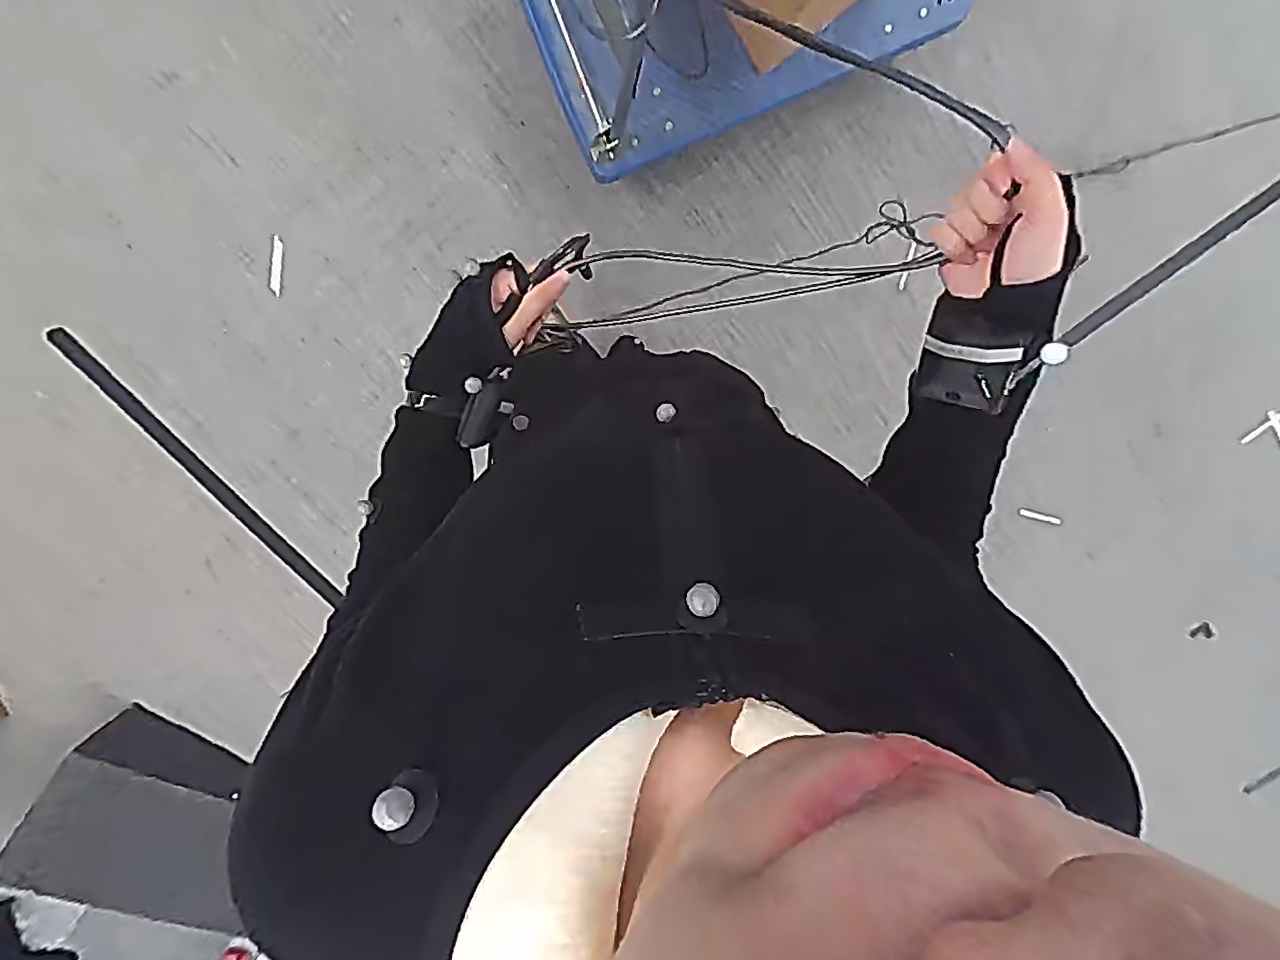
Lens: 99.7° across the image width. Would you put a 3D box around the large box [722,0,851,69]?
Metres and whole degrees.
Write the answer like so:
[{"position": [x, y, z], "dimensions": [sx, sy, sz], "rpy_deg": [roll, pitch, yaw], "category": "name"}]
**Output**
[{"position": [0.269, -1.052, 0.923], "dimensions": [0.320, 0.320, 0.408], "rpy_deg": [-37, 105, 6], "category": "large box"}]
